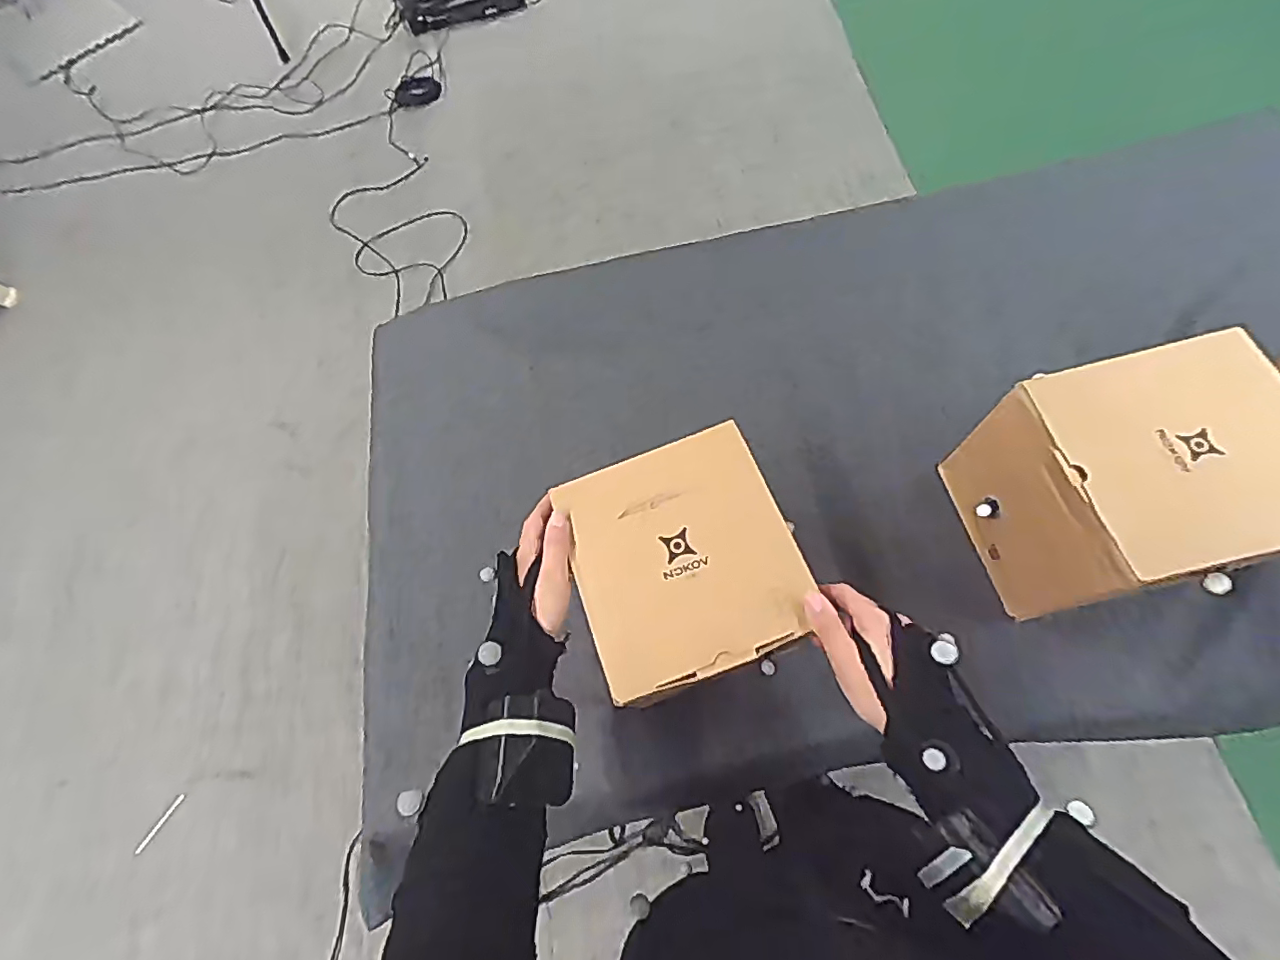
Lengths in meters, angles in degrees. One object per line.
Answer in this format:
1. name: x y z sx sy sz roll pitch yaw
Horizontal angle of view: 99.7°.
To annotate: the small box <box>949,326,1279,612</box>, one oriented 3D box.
1. small box: 0.408 0.004 0.459 0.179 0.176 0.168 -15 67 3
